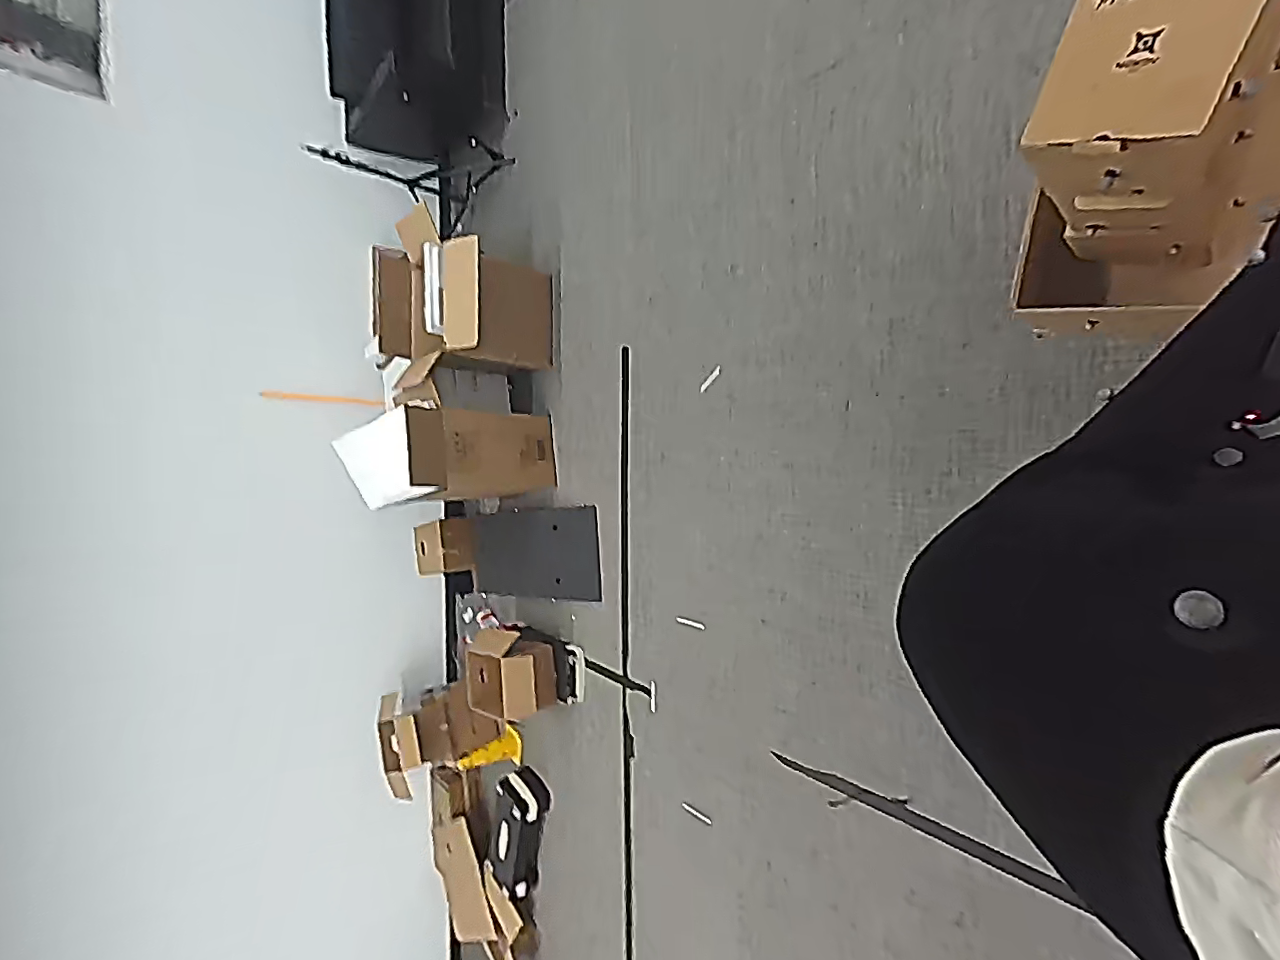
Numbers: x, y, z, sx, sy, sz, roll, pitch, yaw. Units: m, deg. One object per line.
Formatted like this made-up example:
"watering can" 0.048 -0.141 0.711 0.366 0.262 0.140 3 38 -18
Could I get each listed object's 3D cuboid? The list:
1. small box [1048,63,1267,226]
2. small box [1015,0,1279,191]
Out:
"small box" 0.700 -0.457 0.734 0.168 0.176 0.179 26 109 44
"small box" 0.580 -0.451 0.622 0.168 0.176 0.179 32 113 43
